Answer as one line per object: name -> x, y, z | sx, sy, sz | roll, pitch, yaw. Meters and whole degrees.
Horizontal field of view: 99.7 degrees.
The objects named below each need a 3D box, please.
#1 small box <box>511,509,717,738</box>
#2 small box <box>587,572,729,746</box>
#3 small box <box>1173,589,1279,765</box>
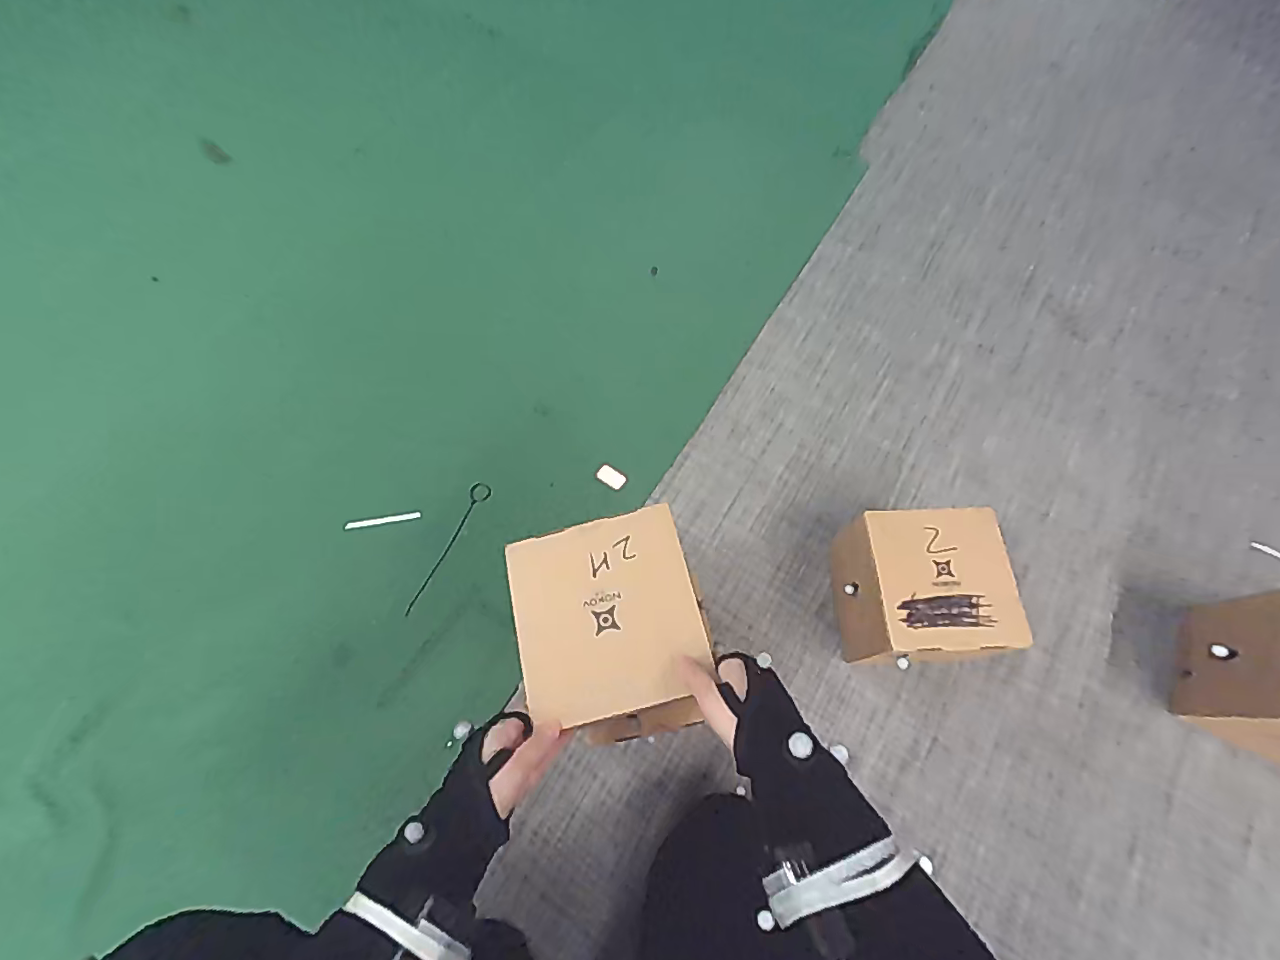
small box -> -0.021, 0.154, 0.566 | 0.168, 0.176, 0.179 | -14, 65, 0
small box -> 0.008, 0.239, 0.713 | 0.168, 0.176, 0.179 | -11, 67, -3
small box -> 0.832, 0.260, 0.677 | 0.179, 0.176, 0.168 | 22, 70, 12
